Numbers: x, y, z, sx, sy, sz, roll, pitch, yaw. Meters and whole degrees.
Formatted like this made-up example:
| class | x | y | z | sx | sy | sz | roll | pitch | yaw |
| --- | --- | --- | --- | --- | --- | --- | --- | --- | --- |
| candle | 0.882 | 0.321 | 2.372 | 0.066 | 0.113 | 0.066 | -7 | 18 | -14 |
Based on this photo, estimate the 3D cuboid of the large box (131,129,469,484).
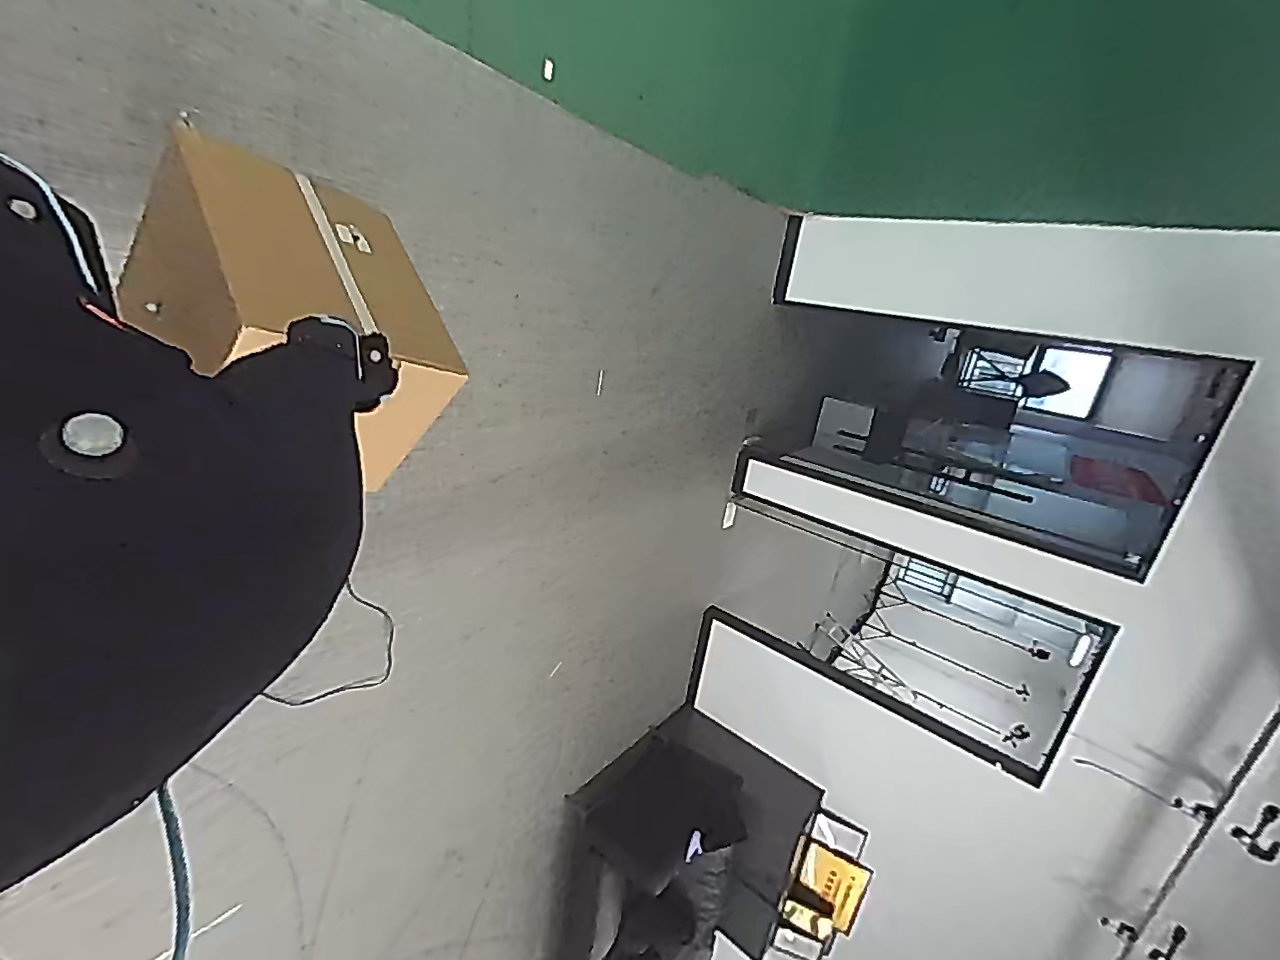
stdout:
| class | x | y | z | sx | sy | sz | roll | pitch | yaw |
| --- | --- | --- | --- | --- | --- | --- | --- | --- | --- |
| large box | -0.553 | -0.240 | 0.873 | 0.320 | 0.408 | 0.320 | -42 | 158 | 25 |
